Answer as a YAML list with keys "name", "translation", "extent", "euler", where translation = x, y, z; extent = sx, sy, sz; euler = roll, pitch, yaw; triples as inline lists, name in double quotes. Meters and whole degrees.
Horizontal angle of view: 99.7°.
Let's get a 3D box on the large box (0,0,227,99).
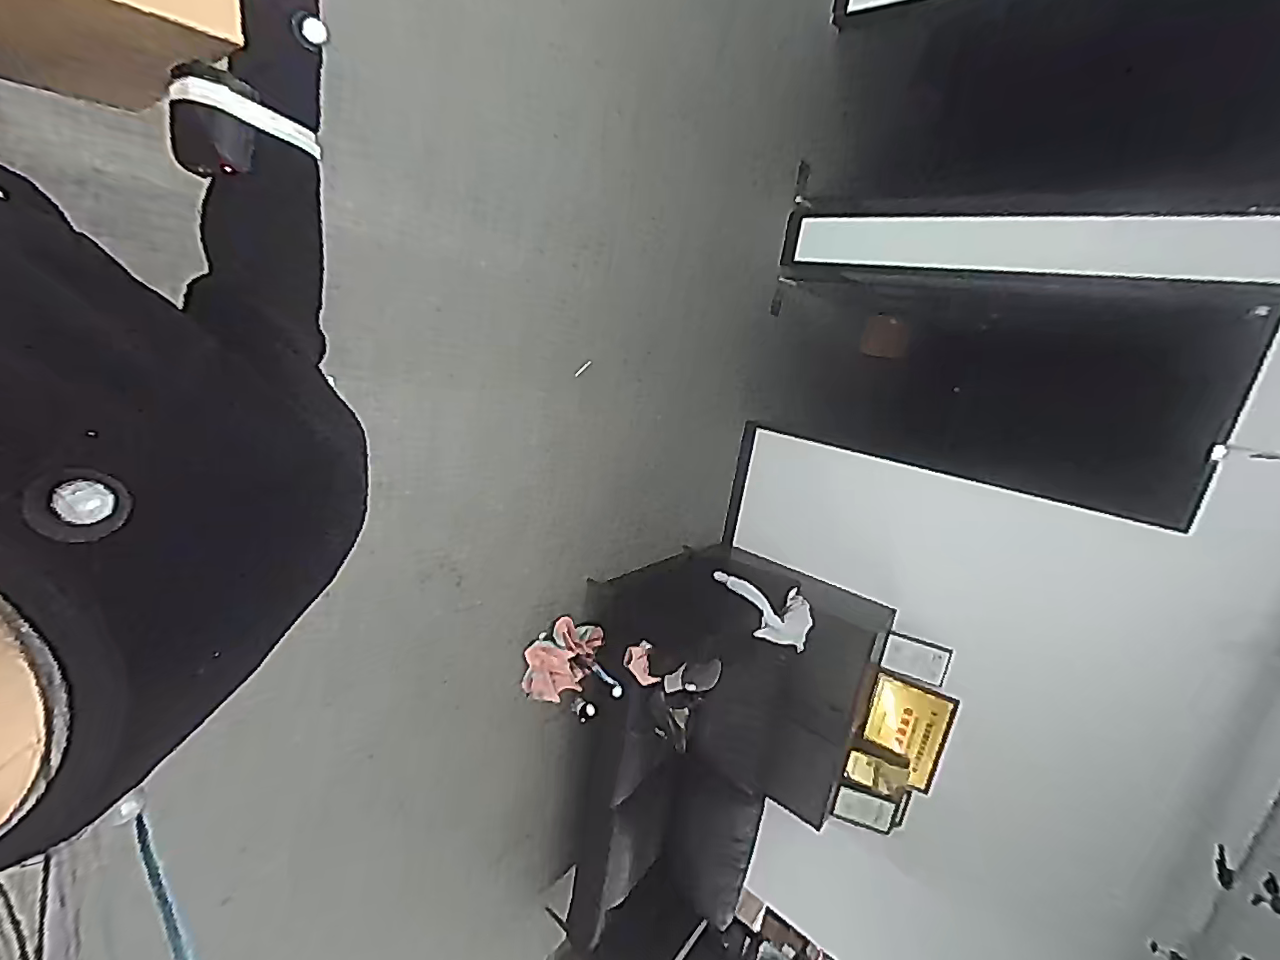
- name: "large box"
  translation: [-0.515, -0.450, 0.273]
  extent: [0.408, 0.320, 0.320]
  euler: [-16, 116, -48]
